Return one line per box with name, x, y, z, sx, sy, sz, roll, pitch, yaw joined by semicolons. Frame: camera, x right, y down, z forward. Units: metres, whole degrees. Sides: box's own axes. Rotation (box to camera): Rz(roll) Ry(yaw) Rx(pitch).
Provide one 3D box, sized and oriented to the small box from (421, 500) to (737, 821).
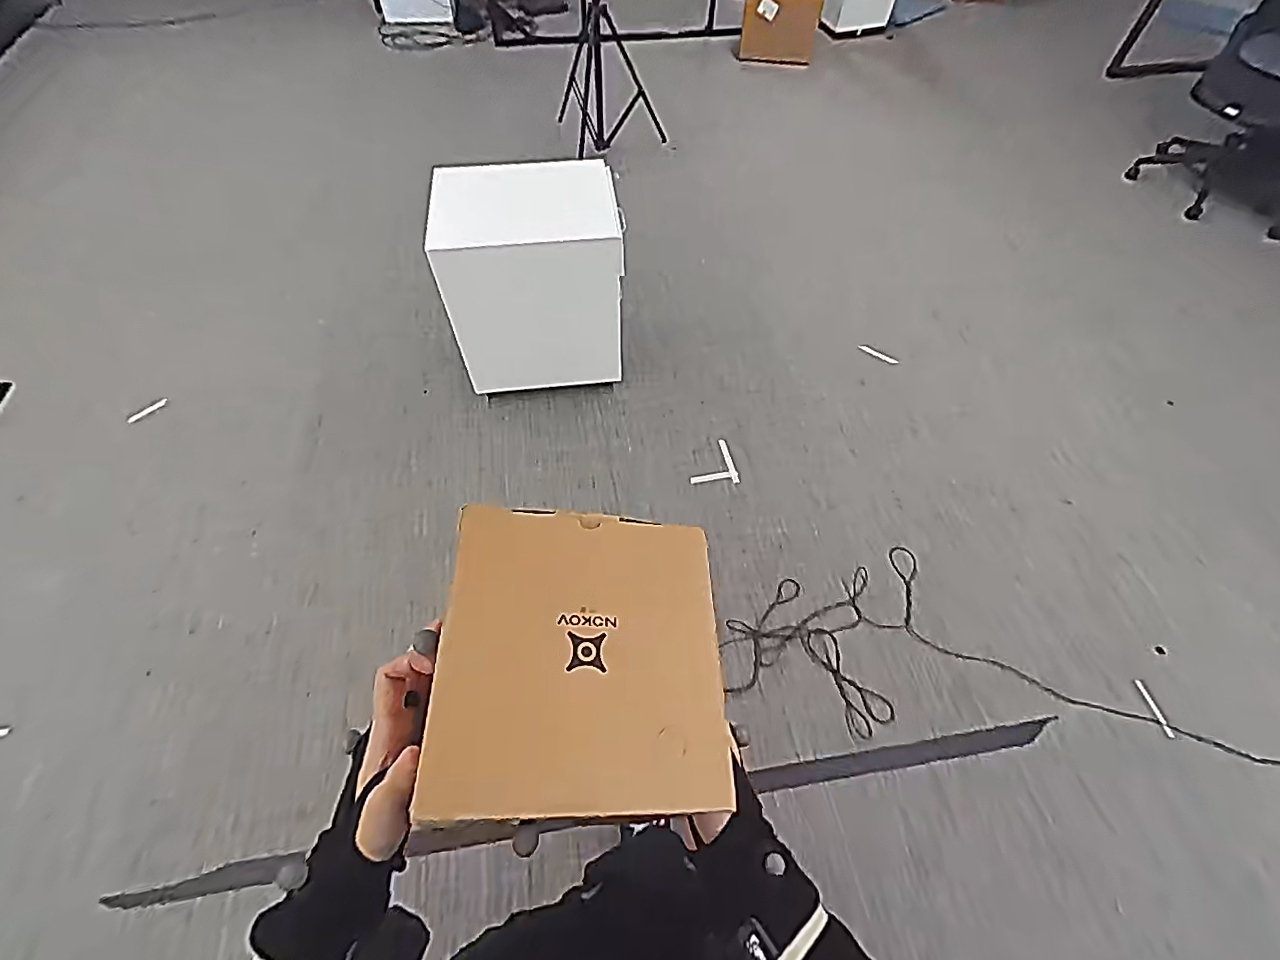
small box;-0.048;0.136;0.384;0.168;0.176;0.179;6;54;-14
